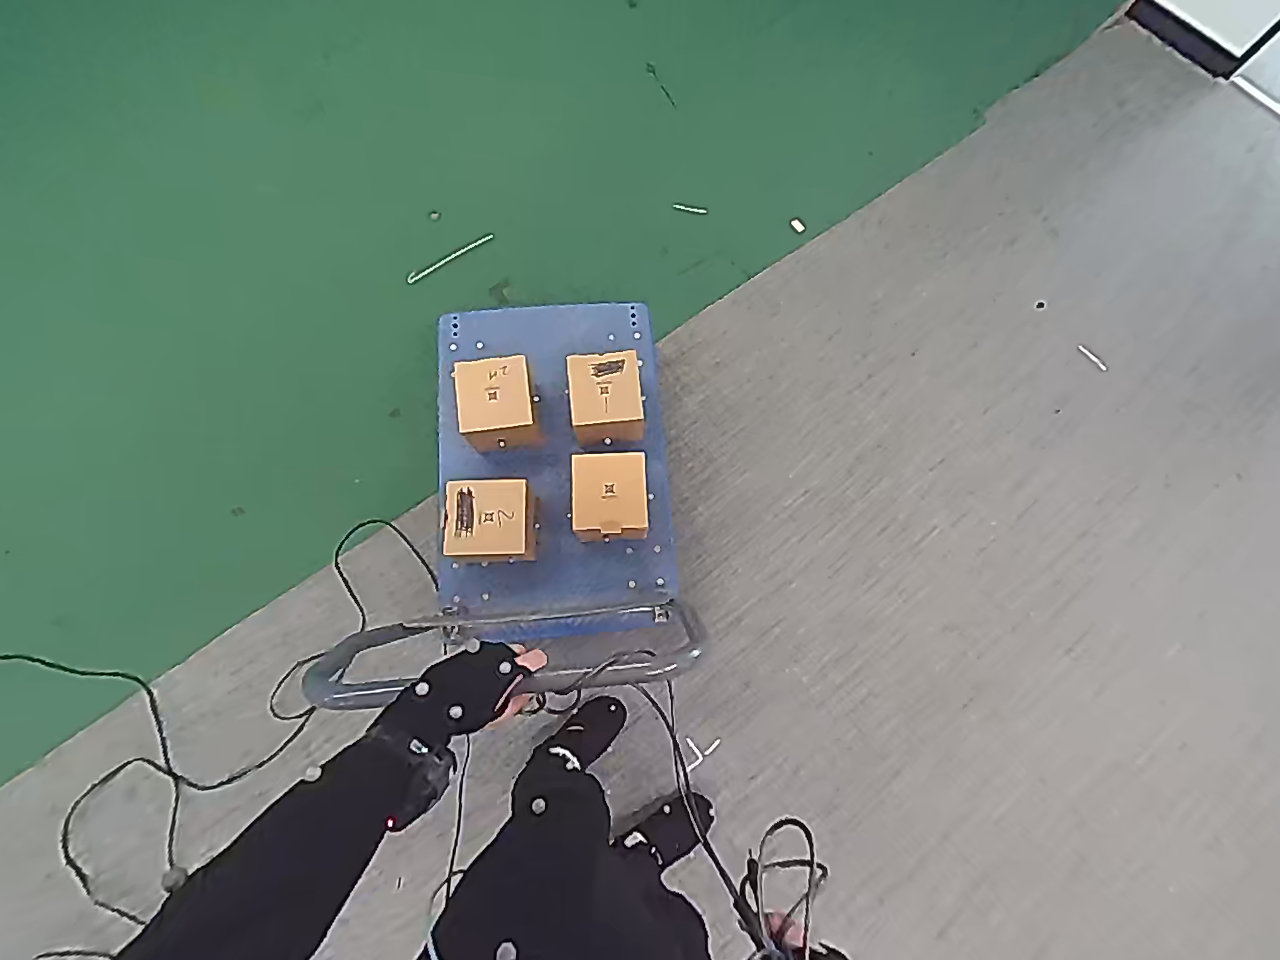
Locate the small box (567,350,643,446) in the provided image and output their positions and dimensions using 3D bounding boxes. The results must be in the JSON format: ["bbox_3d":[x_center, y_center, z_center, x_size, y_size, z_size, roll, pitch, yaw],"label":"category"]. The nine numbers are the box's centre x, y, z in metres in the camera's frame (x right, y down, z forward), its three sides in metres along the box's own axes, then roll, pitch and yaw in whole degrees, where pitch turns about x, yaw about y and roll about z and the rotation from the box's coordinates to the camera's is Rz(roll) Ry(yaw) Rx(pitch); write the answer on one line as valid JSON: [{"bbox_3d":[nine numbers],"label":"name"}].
[{"bbox_3d":[-0.084,-0.196,1.323,0.168,0.176,0.179,-6,78,-2],"label":"small box"}]

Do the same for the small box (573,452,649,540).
[{"bbox_3d":[-0.069,0.042,1.270,0.168,0.176,0.179,-3,78,-2],"label":"small box"}]

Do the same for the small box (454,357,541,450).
[{"bbox_3d":[-0.339,-0.177,1.312,0.168,0.176,0.179,-8,78,-4],"label":"small box"}]
